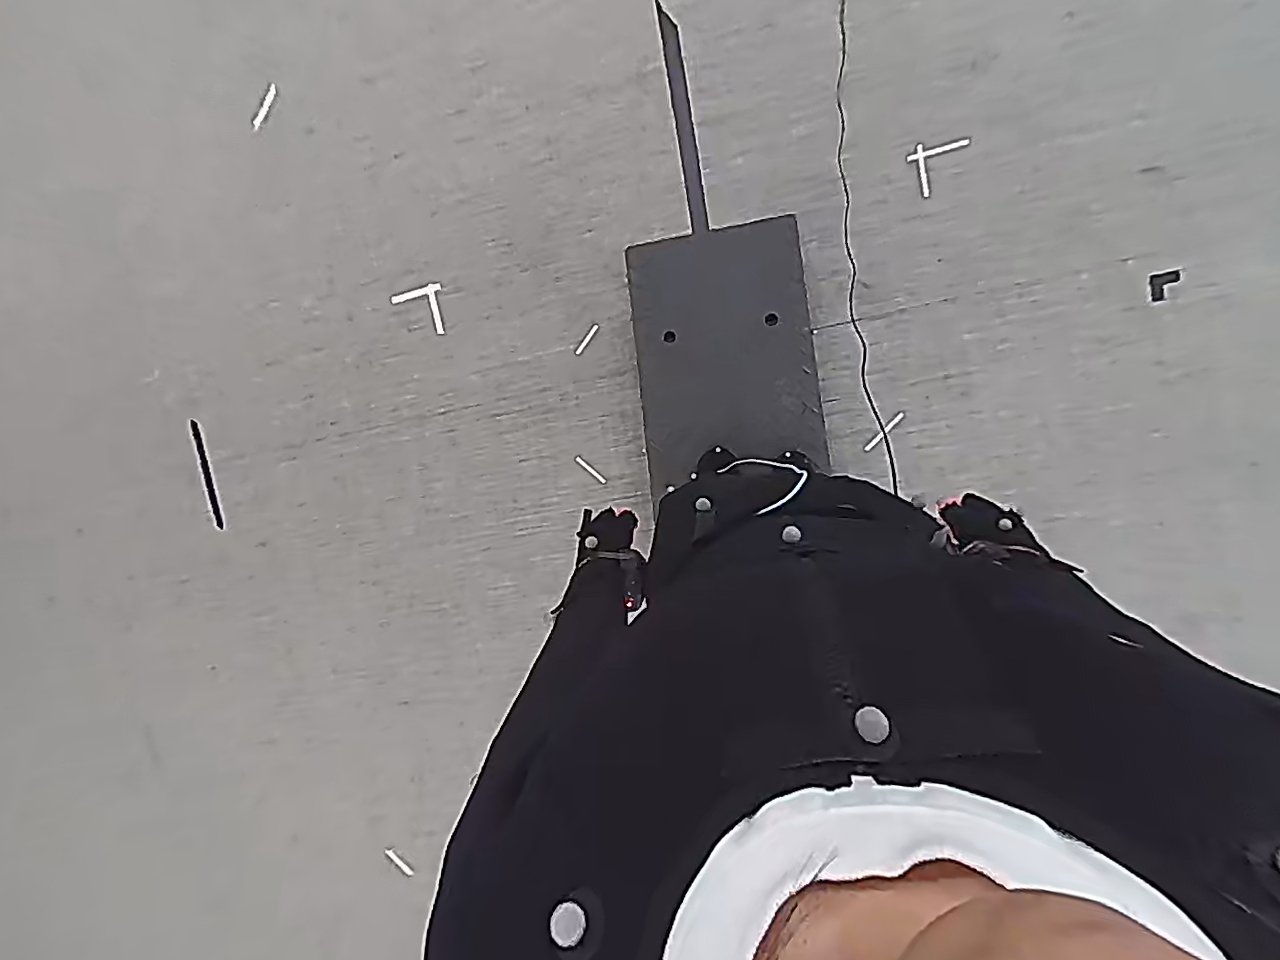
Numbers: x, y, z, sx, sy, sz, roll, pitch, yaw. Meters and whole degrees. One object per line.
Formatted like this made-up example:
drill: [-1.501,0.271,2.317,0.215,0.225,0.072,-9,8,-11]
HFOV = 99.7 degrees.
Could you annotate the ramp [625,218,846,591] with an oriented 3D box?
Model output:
ramp: [0.242,-0.213,1.501,0.509,0.206,0.991,-9,93,11]
